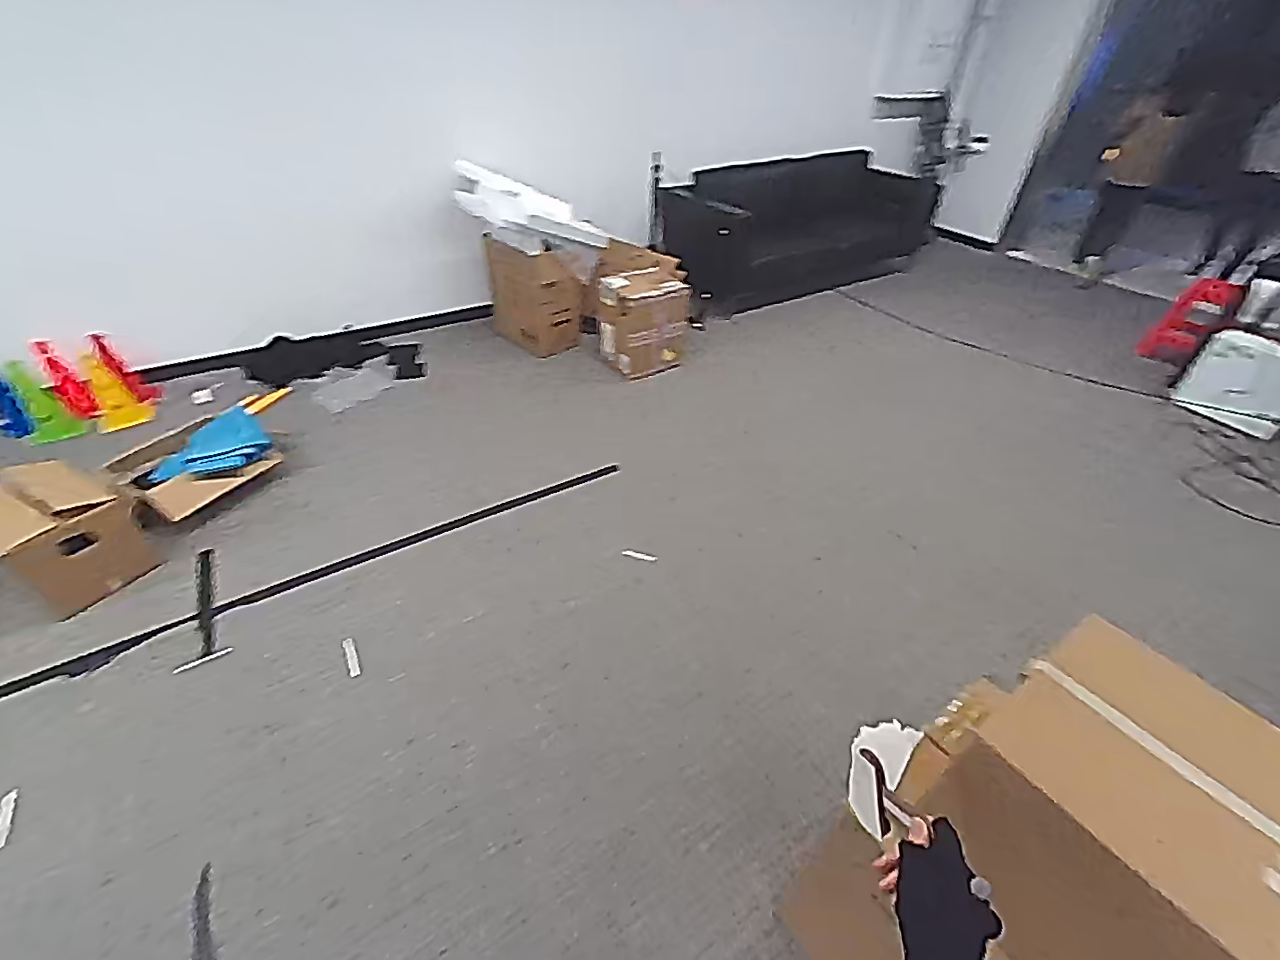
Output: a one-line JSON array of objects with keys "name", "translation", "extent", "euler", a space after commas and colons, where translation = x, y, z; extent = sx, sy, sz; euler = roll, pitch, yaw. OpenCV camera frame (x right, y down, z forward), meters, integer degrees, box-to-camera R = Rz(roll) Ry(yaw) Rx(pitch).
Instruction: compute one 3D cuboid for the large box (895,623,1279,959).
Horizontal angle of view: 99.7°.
[{"name": "large box", "translation": [0.630, 0.475, 0.691], "extent": [0.320, 0.320, 0.408], "euler": [-23, 46, -27]}]
